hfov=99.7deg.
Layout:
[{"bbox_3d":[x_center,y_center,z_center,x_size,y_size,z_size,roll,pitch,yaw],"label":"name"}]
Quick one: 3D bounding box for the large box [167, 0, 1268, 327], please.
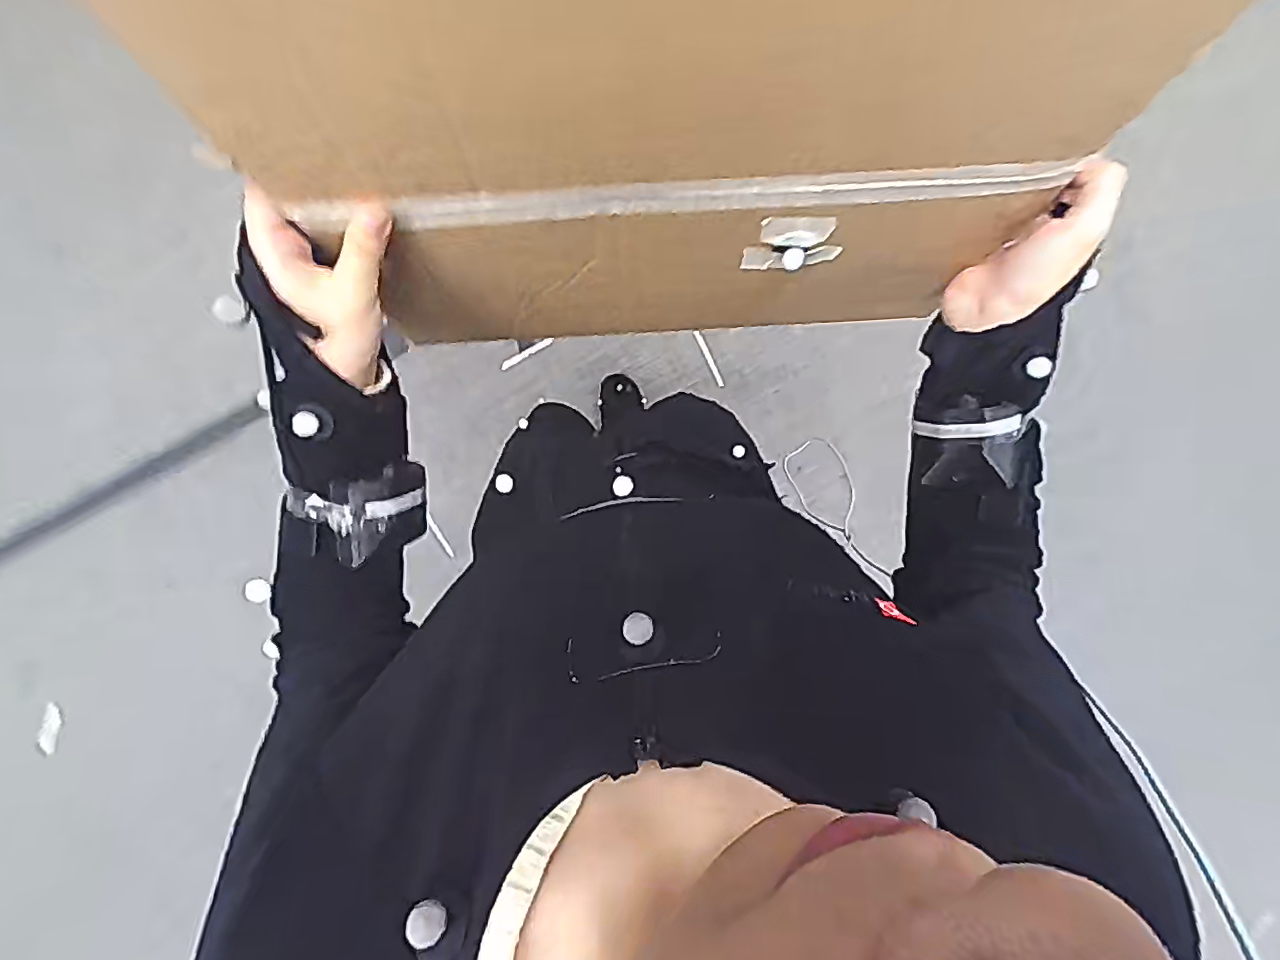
[{"bbox_3d":[0.026,-0.305,0.289,0.408,0.320,0.320,-4,79,0],"label":"large box"}]
